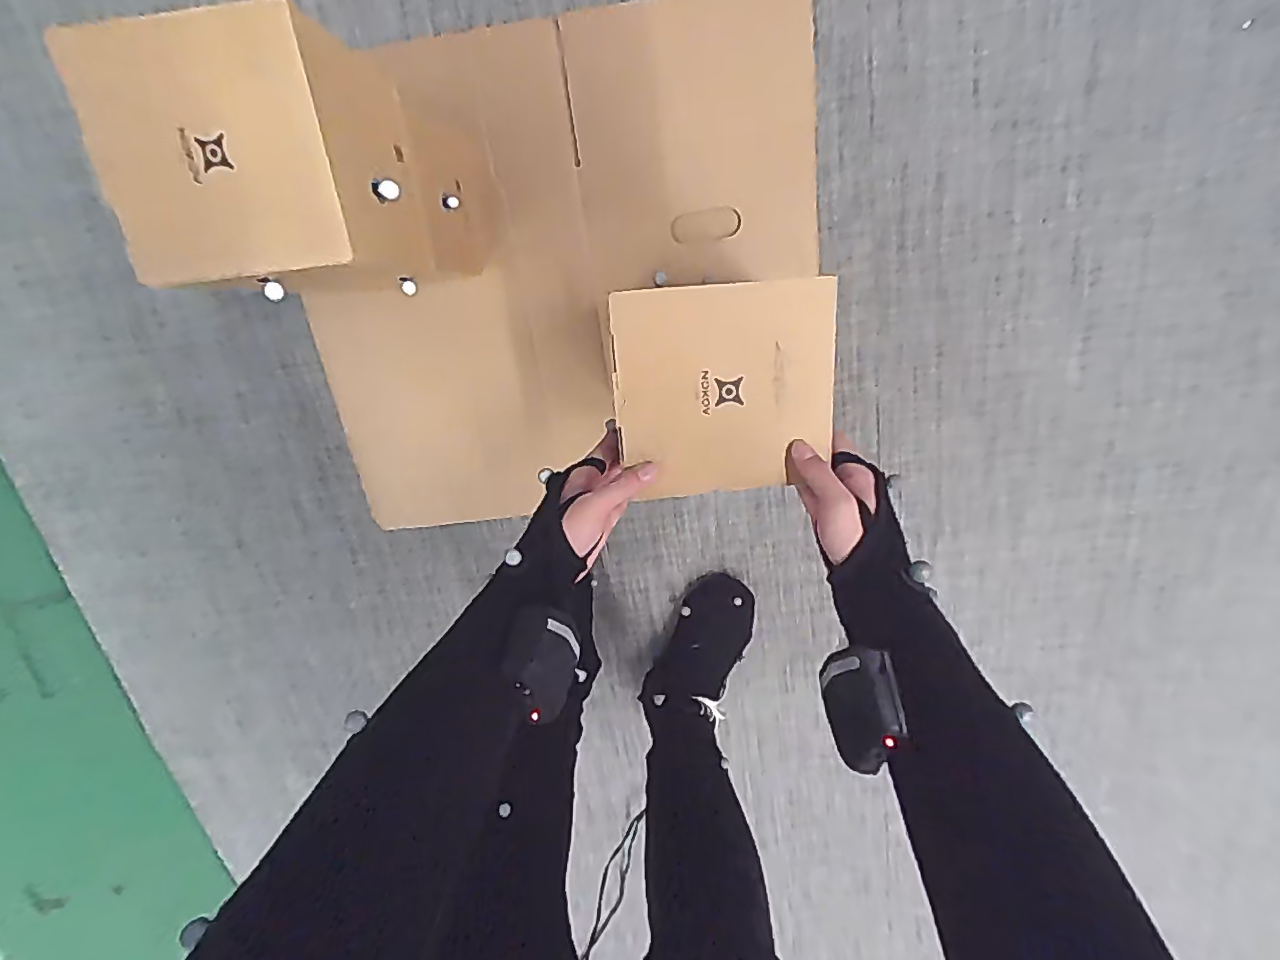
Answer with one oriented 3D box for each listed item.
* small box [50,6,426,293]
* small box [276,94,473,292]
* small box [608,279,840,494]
[{"bbox_3d":[-0.303,-0.257,0.462,0.179,0.176,0.168,-5,110,4],"label":"small box"},{"bbox_3d":[-0.305,-0.310,0.614,0.179,0.176,0.168,-5,109,4],"label":"small box"},{"bbox_3d":[0.068,-0.093,0.504,0.179,0.176,0.168,-3,108,1],"label":"small box"}]
